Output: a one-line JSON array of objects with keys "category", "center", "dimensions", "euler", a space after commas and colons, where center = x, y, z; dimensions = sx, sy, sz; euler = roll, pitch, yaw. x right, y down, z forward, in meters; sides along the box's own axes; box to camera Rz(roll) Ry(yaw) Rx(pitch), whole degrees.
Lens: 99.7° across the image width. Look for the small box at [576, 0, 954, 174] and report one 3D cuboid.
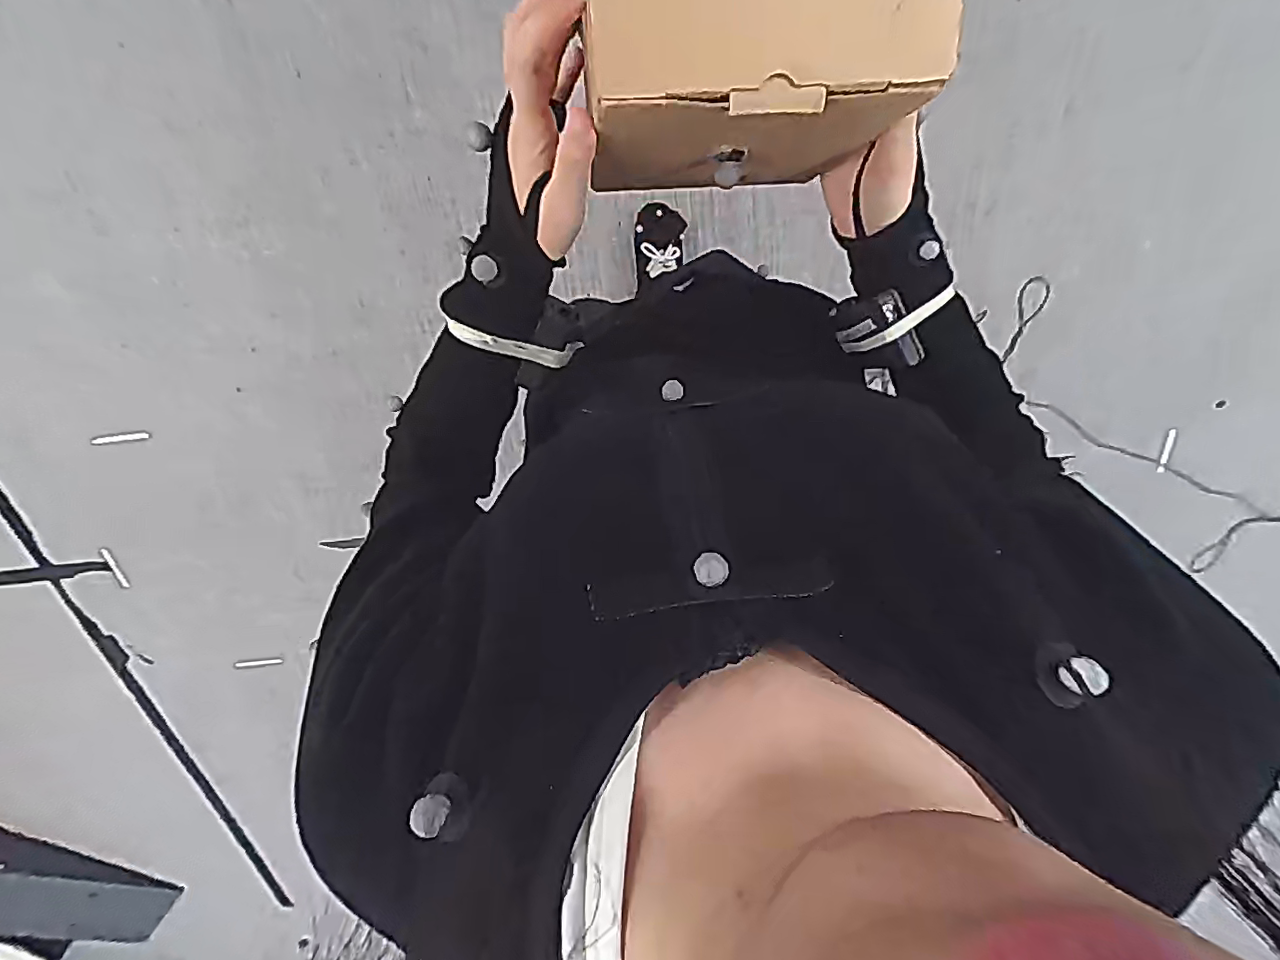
[{"category": "small box", "center": [0.048, -0.280, 0.295], "dimensions": [0.168, 0.176, 0.179], "euler": [-5, 107, -4]}]
